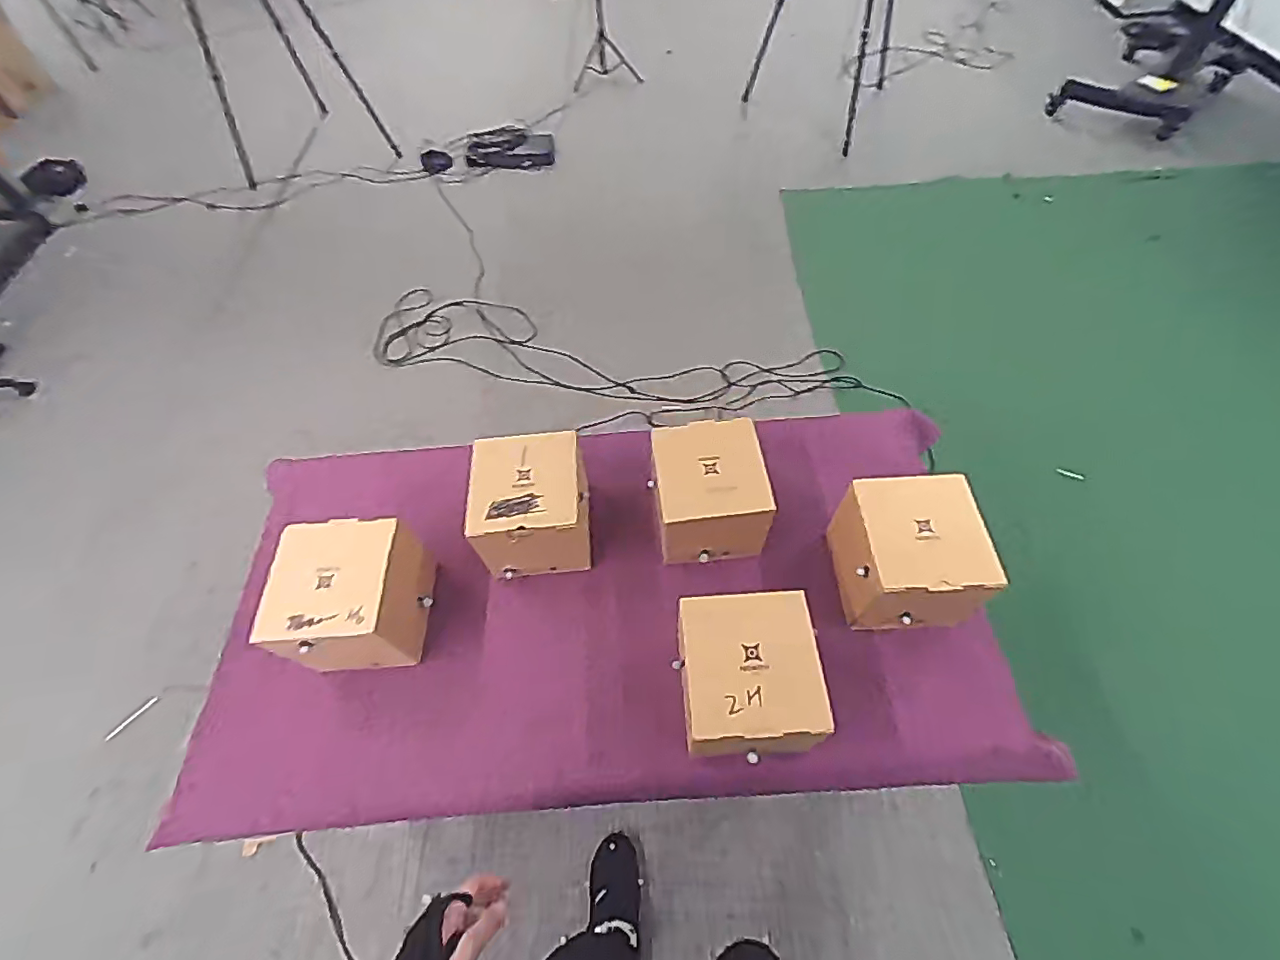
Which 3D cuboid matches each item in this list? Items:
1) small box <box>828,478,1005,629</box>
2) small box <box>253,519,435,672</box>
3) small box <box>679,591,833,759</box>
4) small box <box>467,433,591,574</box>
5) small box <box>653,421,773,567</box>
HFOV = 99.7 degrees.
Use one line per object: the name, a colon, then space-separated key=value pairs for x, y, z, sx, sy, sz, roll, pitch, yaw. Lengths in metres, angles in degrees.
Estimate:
small box: x=0.400 y=0.115 z=0.823 sx=0.168 sy=0.176 sz=0.179 roll=-3 pitch=58 yaw=2
small box: x=-0.428 y=0.178 z=0.821 sx=0.168 sy=0.176 sz=0.179 roll=-5 pitch=57 yaw=1
small box: x=0.142 y=0.268 z=0.736 sx=0.168 sy=0.176 sz=0.179 roll=-4 pitch=56 yaw=1
small box: x=-0.173 y=0.047 z=0.895 sx=0.168 sy=0.176 sz=0.179 roll=-5 pitch=57 yaw=-1
small box: x=0.110 y=0.026 z=0.895 sx=0.168 sy=0.176 sz=0.179 roll=-6 pitch=58 yaw=0
